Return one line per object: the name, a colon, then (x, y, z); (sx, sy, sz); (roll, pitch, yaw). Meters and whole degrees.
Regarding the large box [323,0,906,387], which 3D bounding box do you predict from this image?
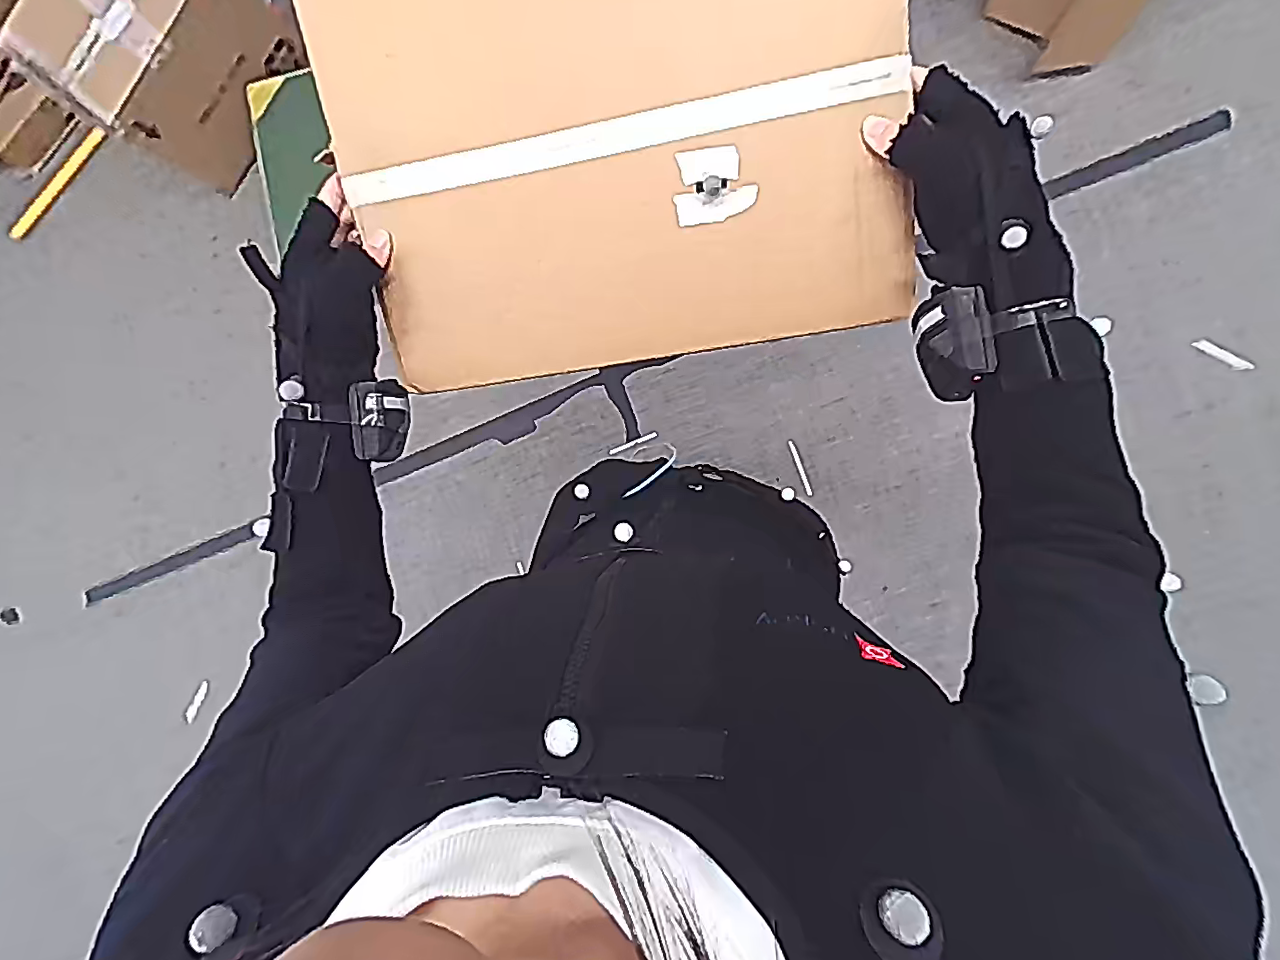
large box: (-0.003, -0.293, 0.542); (0.408, 0.320, 0.320); (-7, 107, 7)
